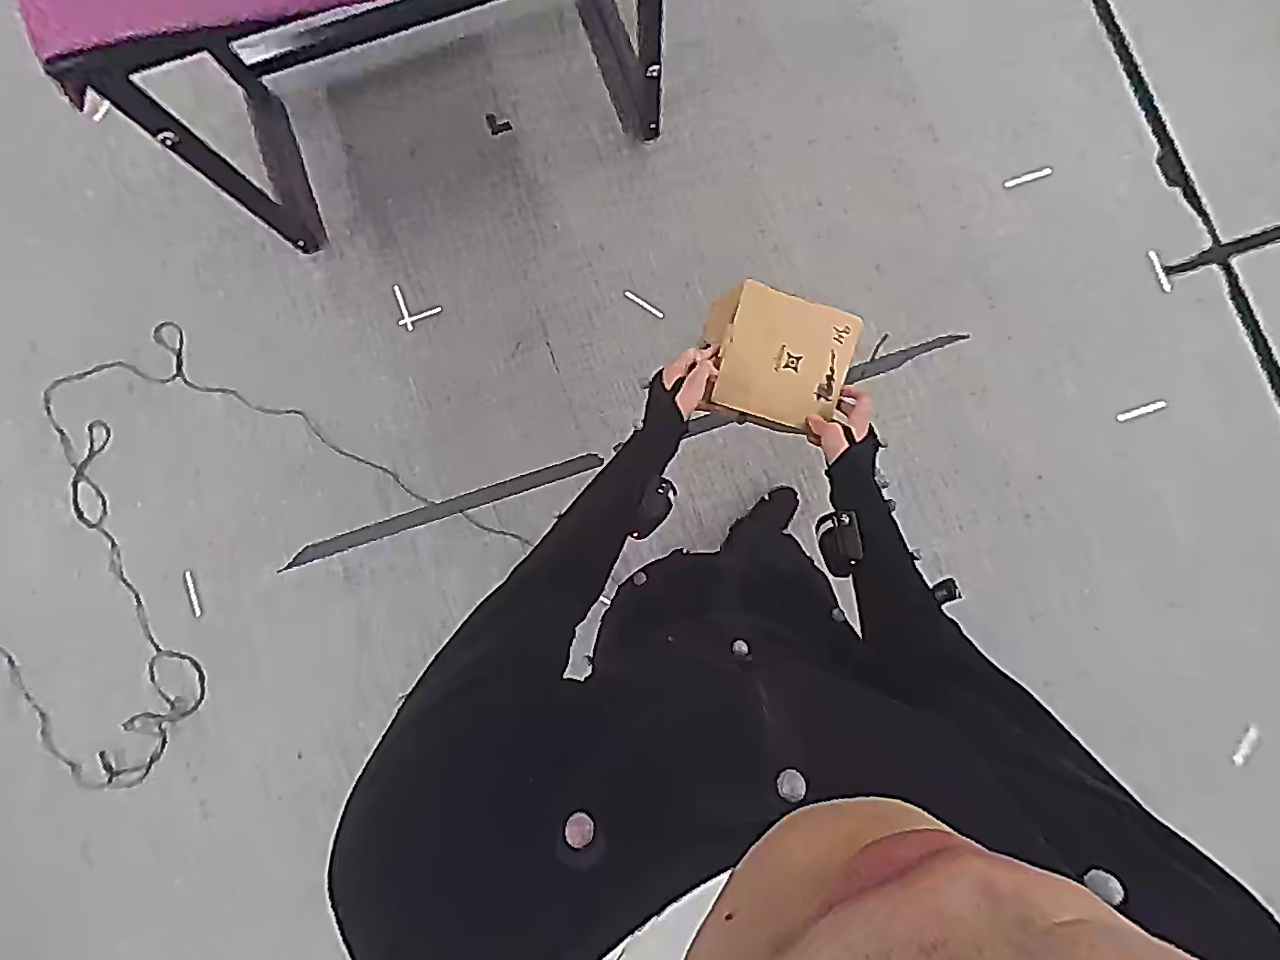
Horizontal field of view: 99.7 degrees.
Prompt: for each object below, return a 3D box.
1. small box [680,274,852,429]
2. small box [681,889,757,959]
[{"bbox_3d":[0.170,-0.175,0.791,0.179,0.176,0.168,14,95,-9],"label":"small box"},{"bbox_3d":[0.215,1.247,1.435,0.168,0.176,0.179,-19,83,-2],"label":"small box"}]
